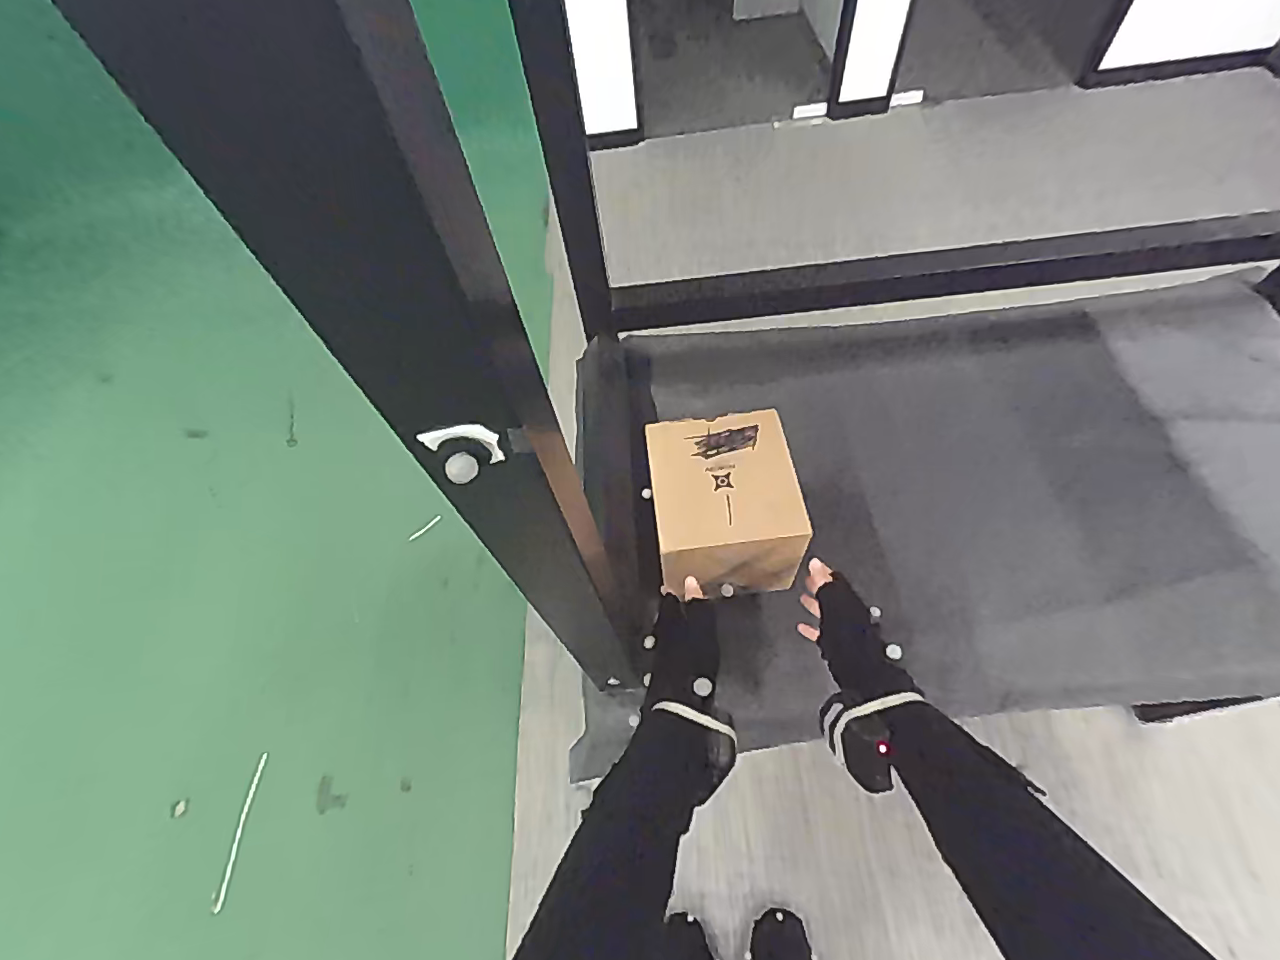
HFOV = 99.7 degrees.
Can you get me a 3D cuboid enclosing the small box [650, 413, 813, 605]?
[{"bbox_3d":[0.105,0.041,0.689,0.168,0.176,0.179,-7,57,2],"label":"small box"}]
